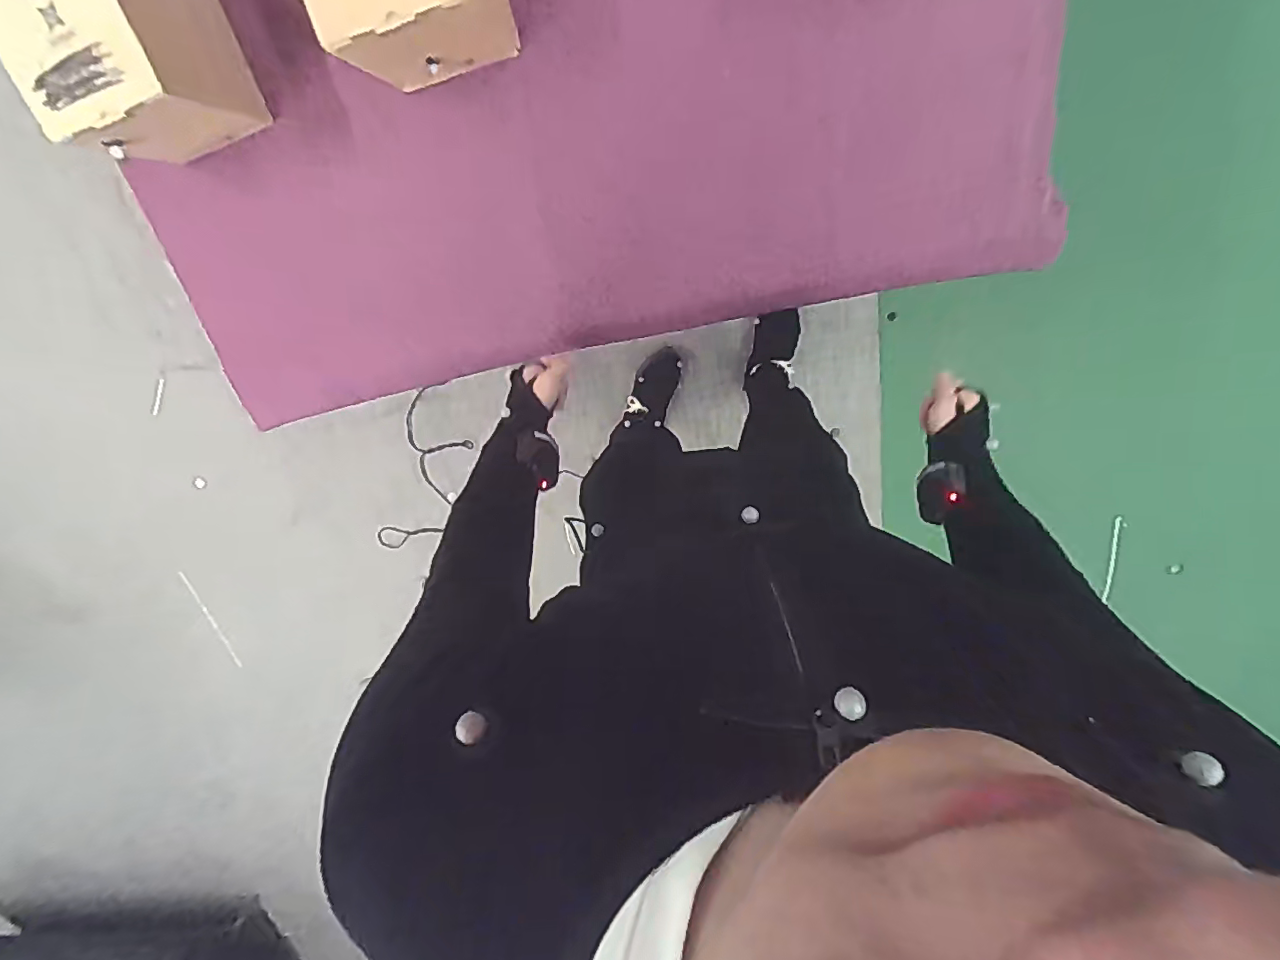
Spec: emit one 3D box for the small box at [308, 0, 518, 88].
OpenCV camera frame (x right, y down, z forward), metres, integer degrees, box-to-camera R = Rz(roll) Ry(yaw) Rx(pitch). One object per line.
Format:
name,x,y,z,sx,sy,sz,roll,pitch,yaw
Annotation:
small box,-0.251,-0.560,0.576,0.168,0.176,0.179,-10,113,11
